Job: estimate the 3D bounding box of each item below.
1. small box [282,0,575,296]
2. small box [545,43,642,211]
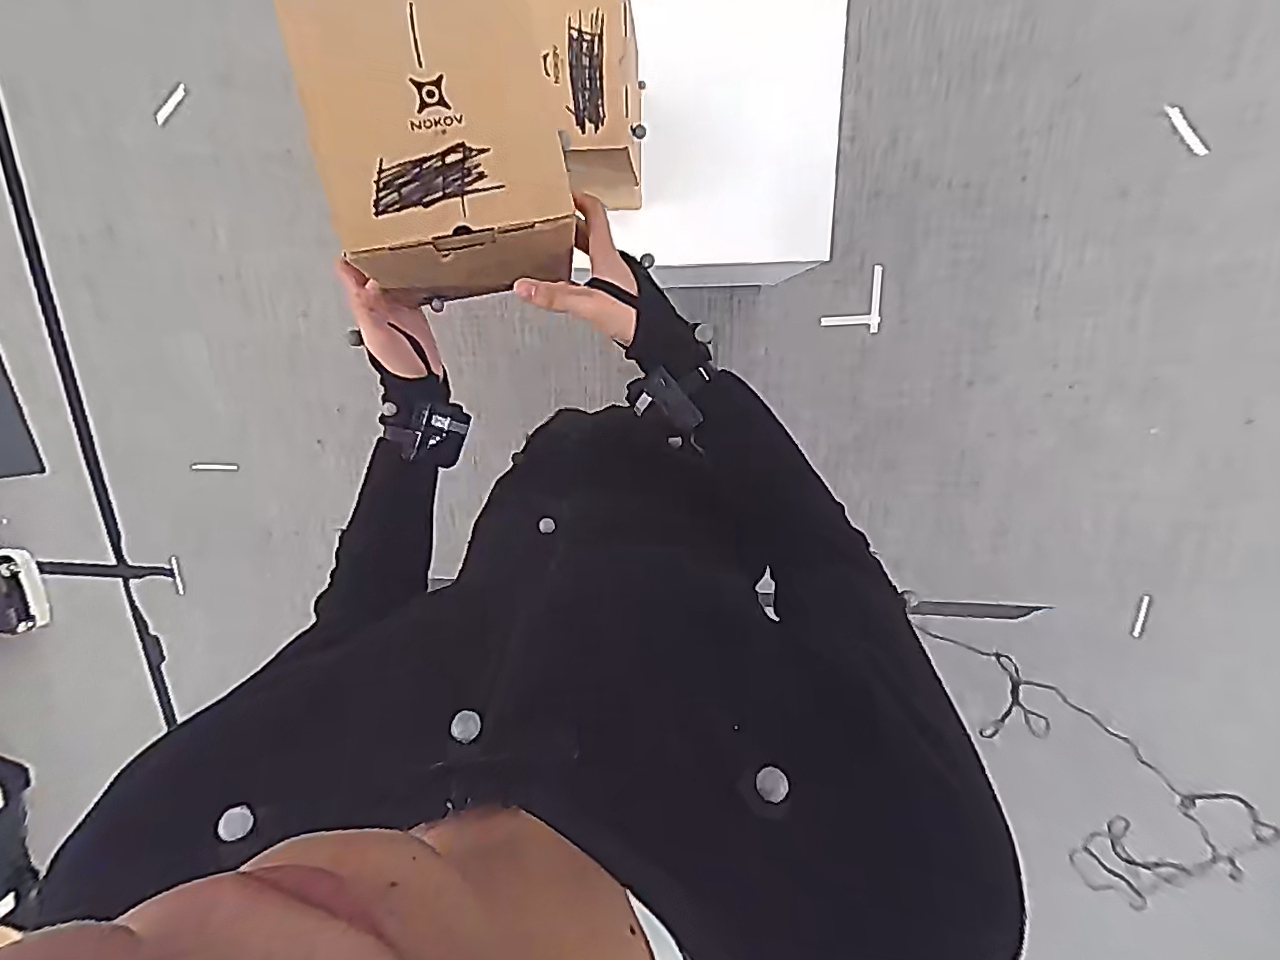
[{"bbox_3d":[-0.150,-0.262,0.448,0.168,0.176,0.179,-13,97,-7],"label":"small box"},{"bbox_3d":[-0.085,-0.512,0.811,0.168,0.176,0.179,1,105,4],"label":"small box"}]
